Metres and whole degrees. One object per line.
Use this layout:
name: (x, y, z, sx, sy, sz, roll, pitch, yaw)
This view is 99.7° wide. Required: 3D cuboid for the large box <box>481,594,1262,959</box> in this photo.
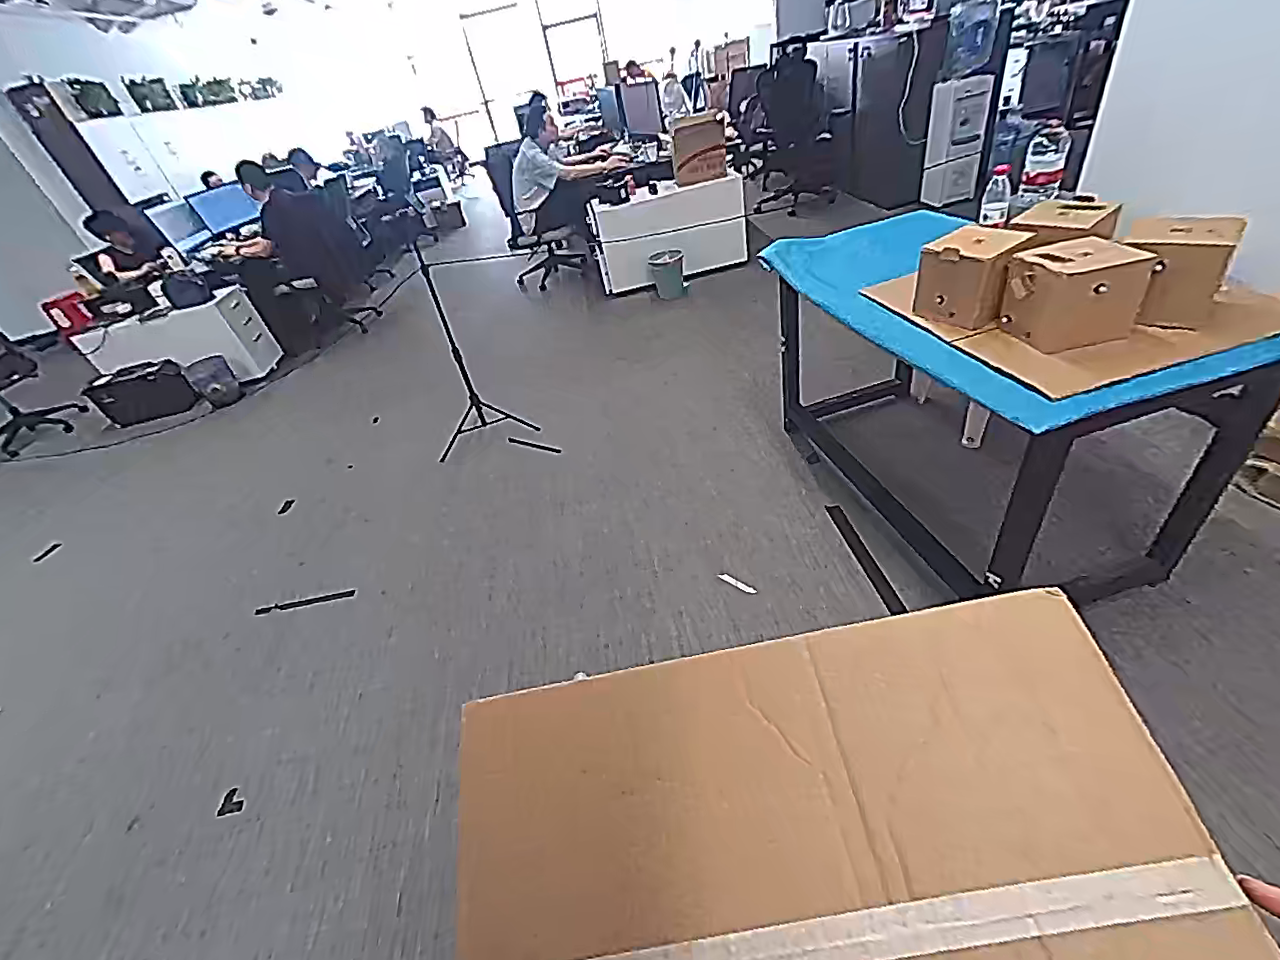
large box: (0.127, 0.322, 0.419, 0.408, 0.320, 0.320, -13, 59, 4)
